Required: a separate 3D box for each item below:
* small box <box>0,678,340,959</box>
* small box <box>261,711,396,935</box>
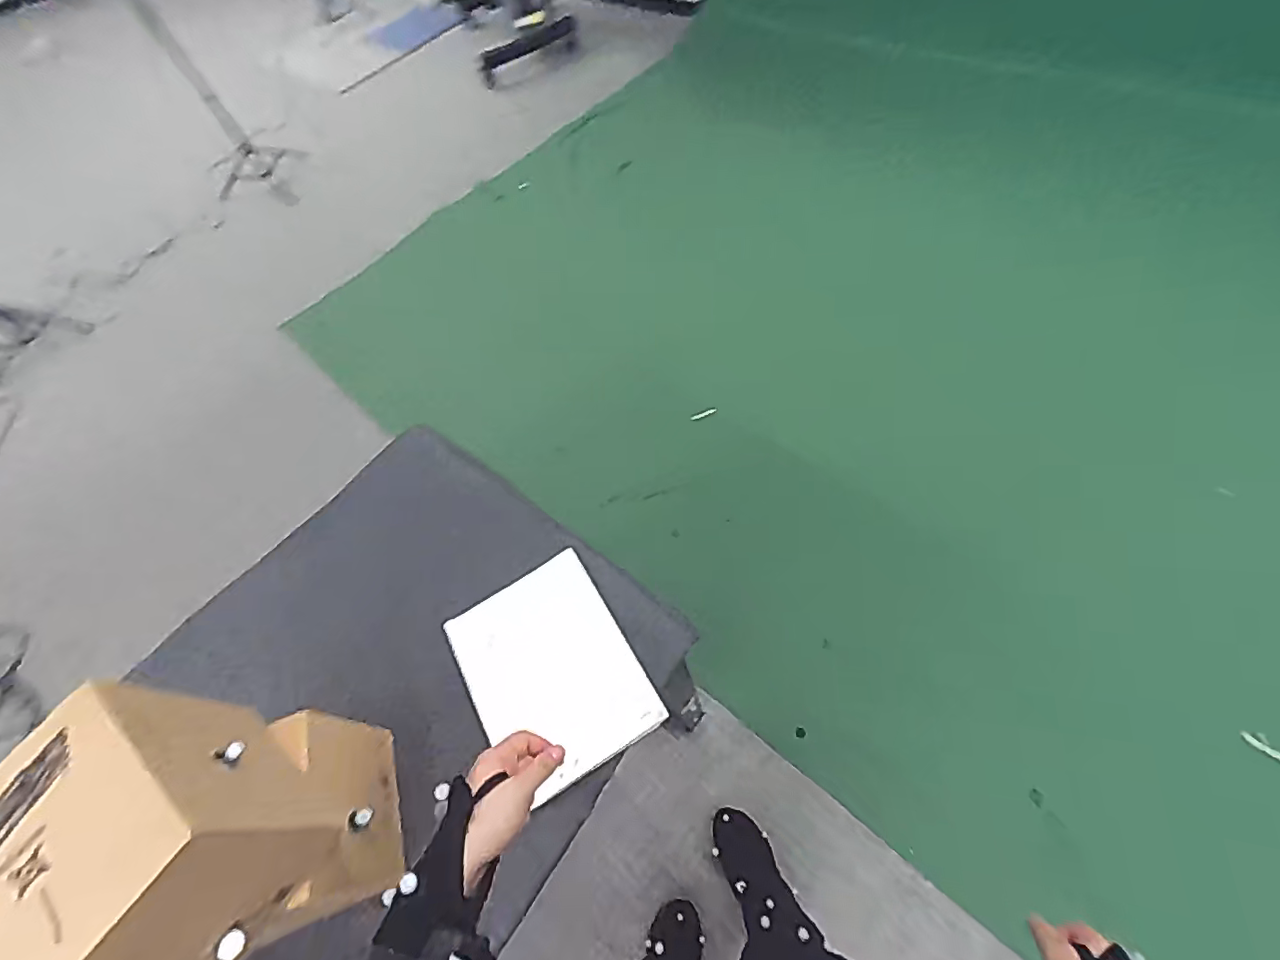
[{"bbox_3d":[-0.388,0.289,0.422,0.179,0.176,0.168,29,69,23],"label":"small box"},{"bbox_3d":[-0.378,0.365,0.568,0.179,0.176,0.168,-23,59,-3],"label":"small box"}]
